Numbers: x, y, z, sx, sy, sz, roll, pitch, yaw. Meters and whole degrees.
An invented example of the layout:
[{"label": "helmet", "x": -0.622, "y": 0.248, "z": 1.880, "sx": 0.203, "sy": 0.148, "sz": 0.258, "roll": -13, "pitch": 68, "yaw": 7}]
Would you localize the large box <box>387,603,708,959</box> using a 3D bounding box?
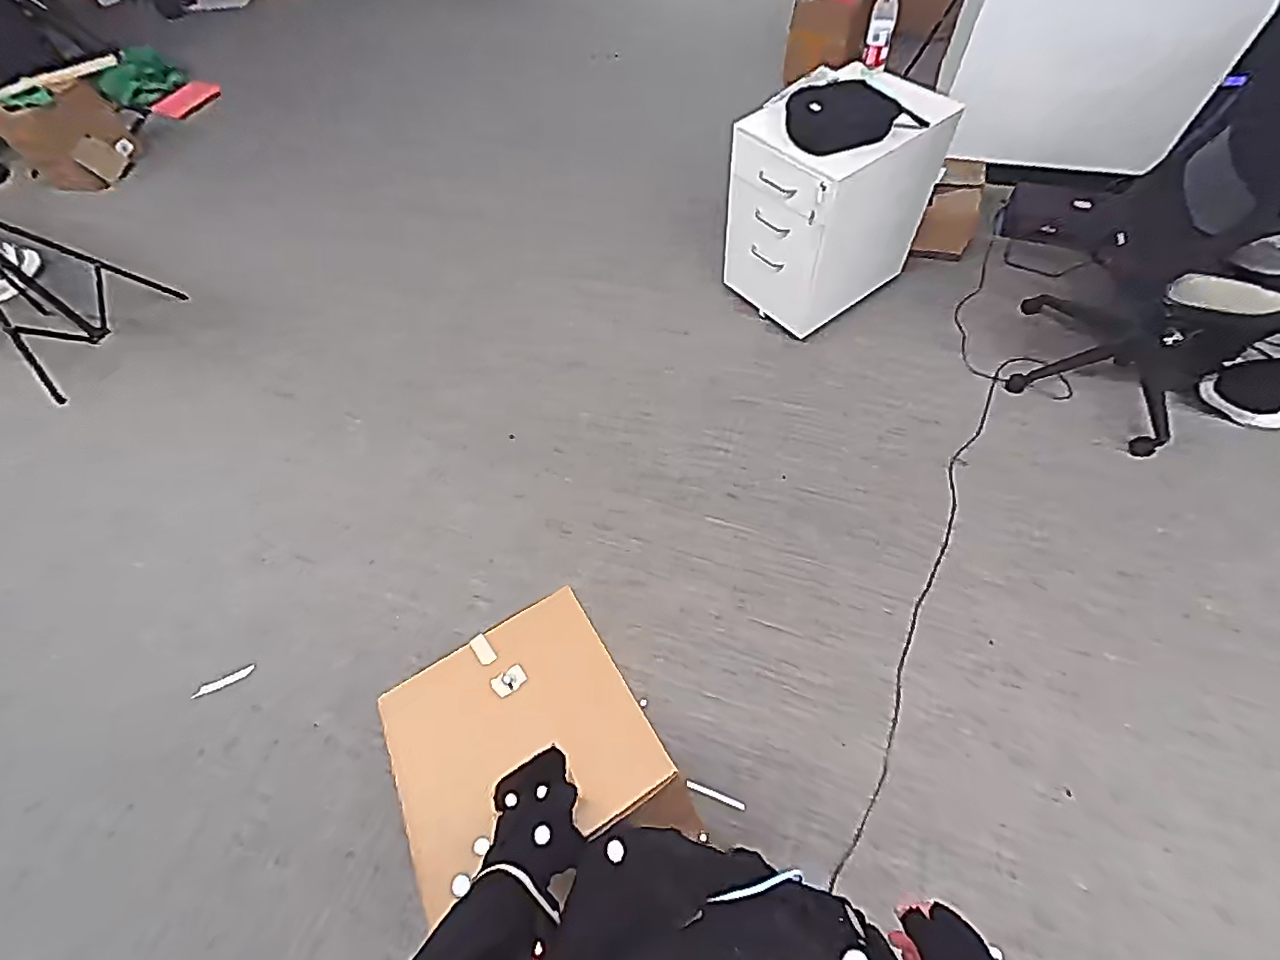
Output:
[{"label": "large box", "x": -0.122, "y": 0.465, "z": 0.845, "sx": 0.320, "sy": 0.408, "sz": 0.320, "roll": -30, "pitch": 51, "yaw": -12}]
